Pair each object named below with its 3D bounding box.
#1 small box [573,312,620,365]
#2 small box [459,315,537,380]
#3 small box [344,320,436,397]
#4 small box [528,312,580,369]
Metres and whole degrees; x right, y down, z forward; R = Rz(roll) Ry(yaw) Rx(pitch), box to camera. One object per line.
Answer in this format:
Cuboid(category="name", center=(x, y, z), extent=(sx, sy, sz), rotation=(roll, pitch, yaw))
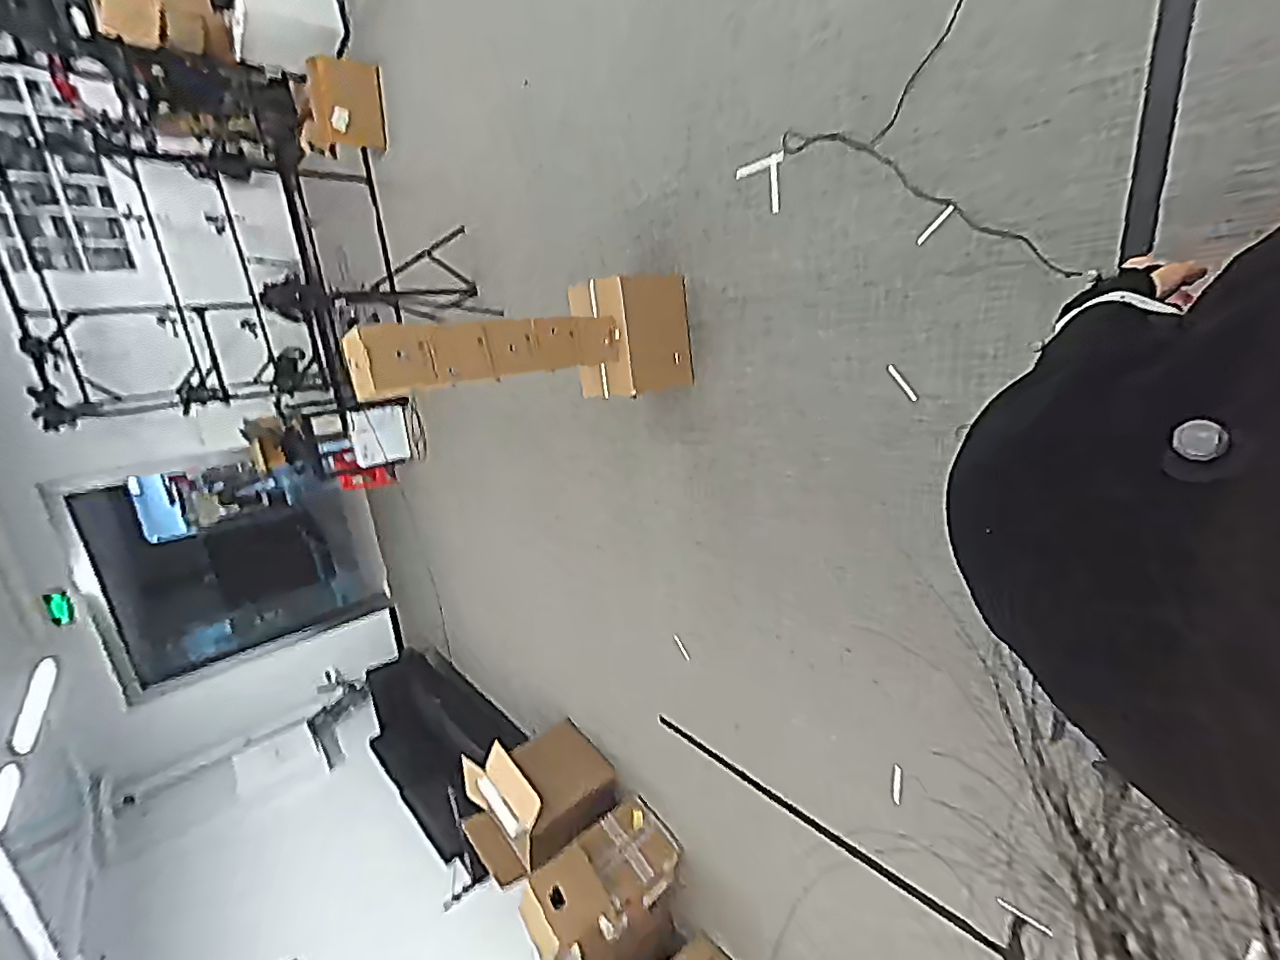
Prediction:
Cuboid(category="small box", center=(-0.194, -0.492, 1.885), extent=(0.179, 0.176, 0.168), rotation=(9, 111, 47))
Cuboid(category="small box", center=(-0.434, -0.411, 1.680), extent=(0.179, 0.176, 0.168), rotation=(1, 104, 49))
Cuboid(category="small box", center=(-0.674, -0.332, 1.471), extent=(0.179, 0.176, 0.168), rotation=(-4, 100, 49))
Cuboid(category="small box", center=(-0.310, -0.455, 1.779), extent=(0.179, 0.176, 0.168), rotation=(7, 109, 49))
